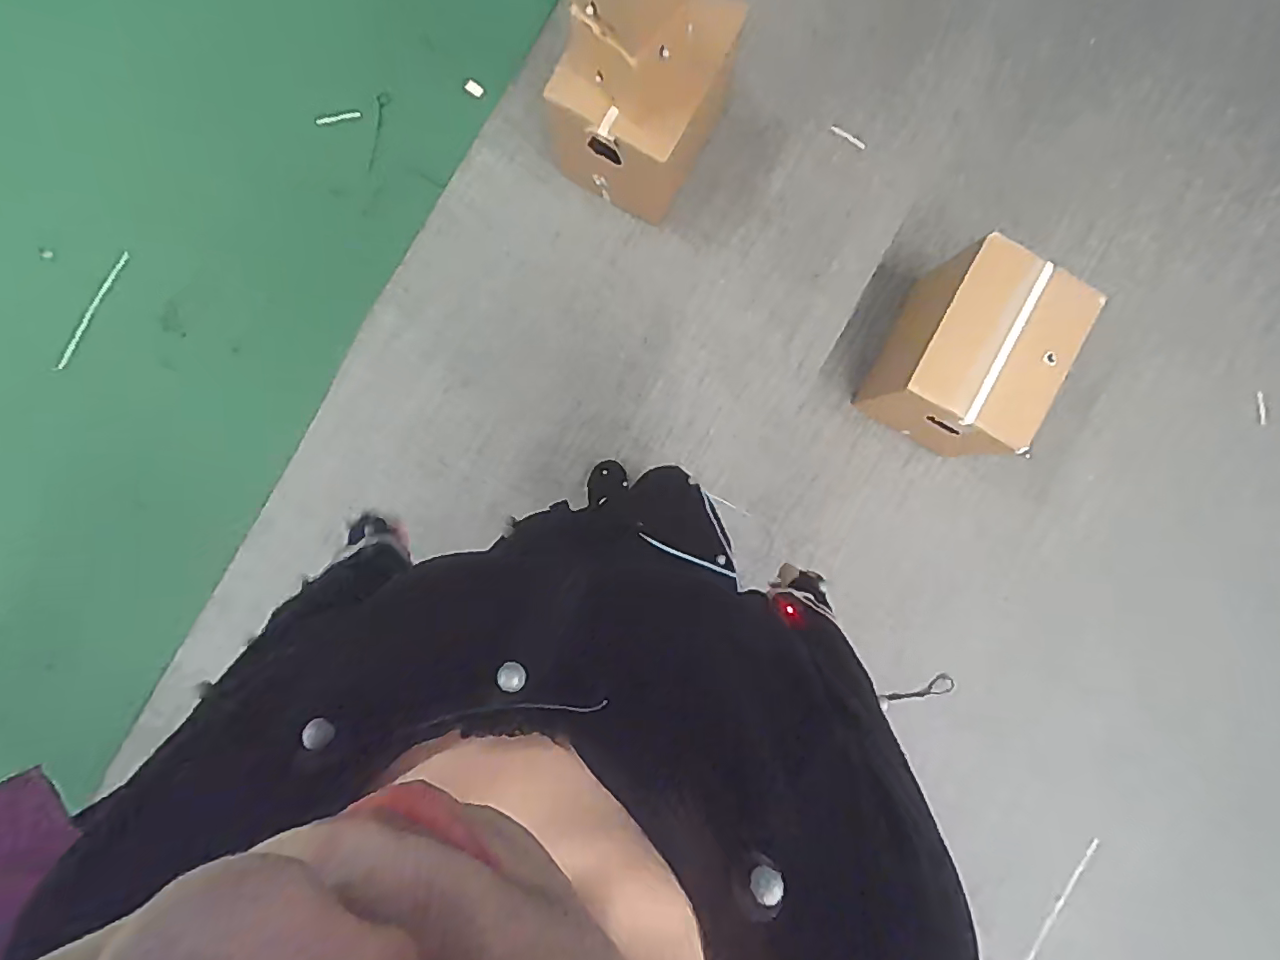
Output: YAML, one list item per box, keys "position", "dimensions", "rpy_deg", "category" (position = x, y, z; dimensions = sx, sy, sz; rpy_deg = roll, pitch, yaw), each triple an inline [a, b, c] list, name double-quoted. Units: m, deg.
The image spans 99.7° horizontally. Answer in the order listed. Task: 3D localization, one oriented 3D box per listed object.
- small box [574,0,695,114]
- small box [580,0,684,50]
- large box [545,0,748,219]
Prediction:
- position: [-0.013, -0.904, 1.090]
  dimensions: [0.168, 0.176, 0.179]
  rpy_deg: [40, 90, -1]
  category: "small box"
- position: [-0.009, -0.911, 0.927]
  dimensions: [0.168, 0.176, 0.179]
  rpy_deg: [43, 91, -1]
  category: "small box"
- position: [0.012, -0.950, 1.332]
  dimensions: [0.320, 0.320, 0.408]
  rpy_deg: [29, 90, -2]
  category: "large box"
